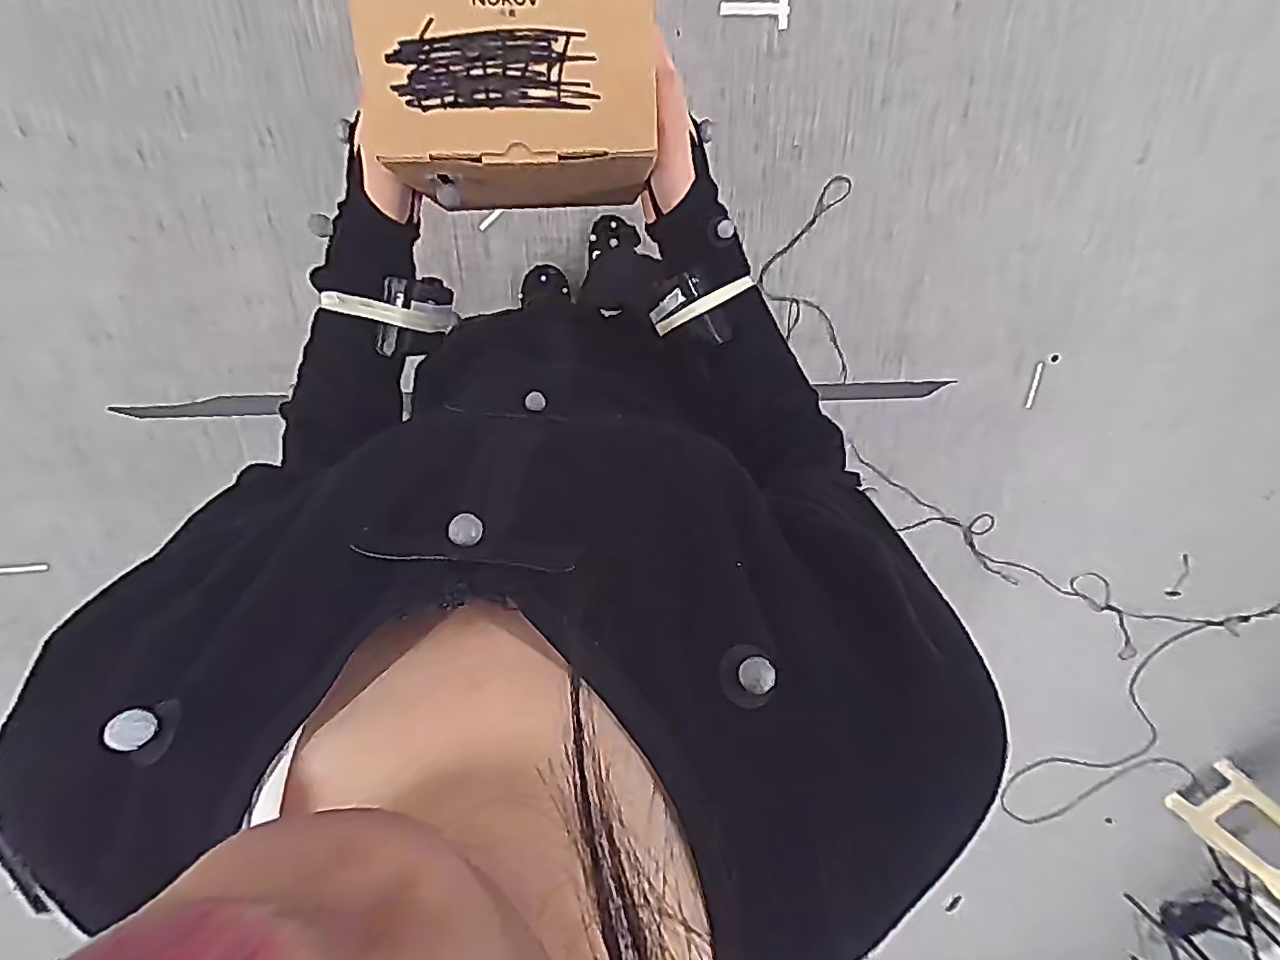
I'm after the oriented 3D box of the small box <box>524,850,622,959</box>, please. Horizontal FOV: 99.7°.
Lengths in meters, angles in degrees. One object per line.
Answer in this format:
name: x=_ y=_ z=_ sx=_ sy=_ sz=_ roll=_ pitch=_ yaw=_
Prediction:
small box: x=-0.127 y=0.834 z=1.009 sx=0.168 sy=0.176 sz=0.179 roll=-2 pitch=113 yaw=-10
